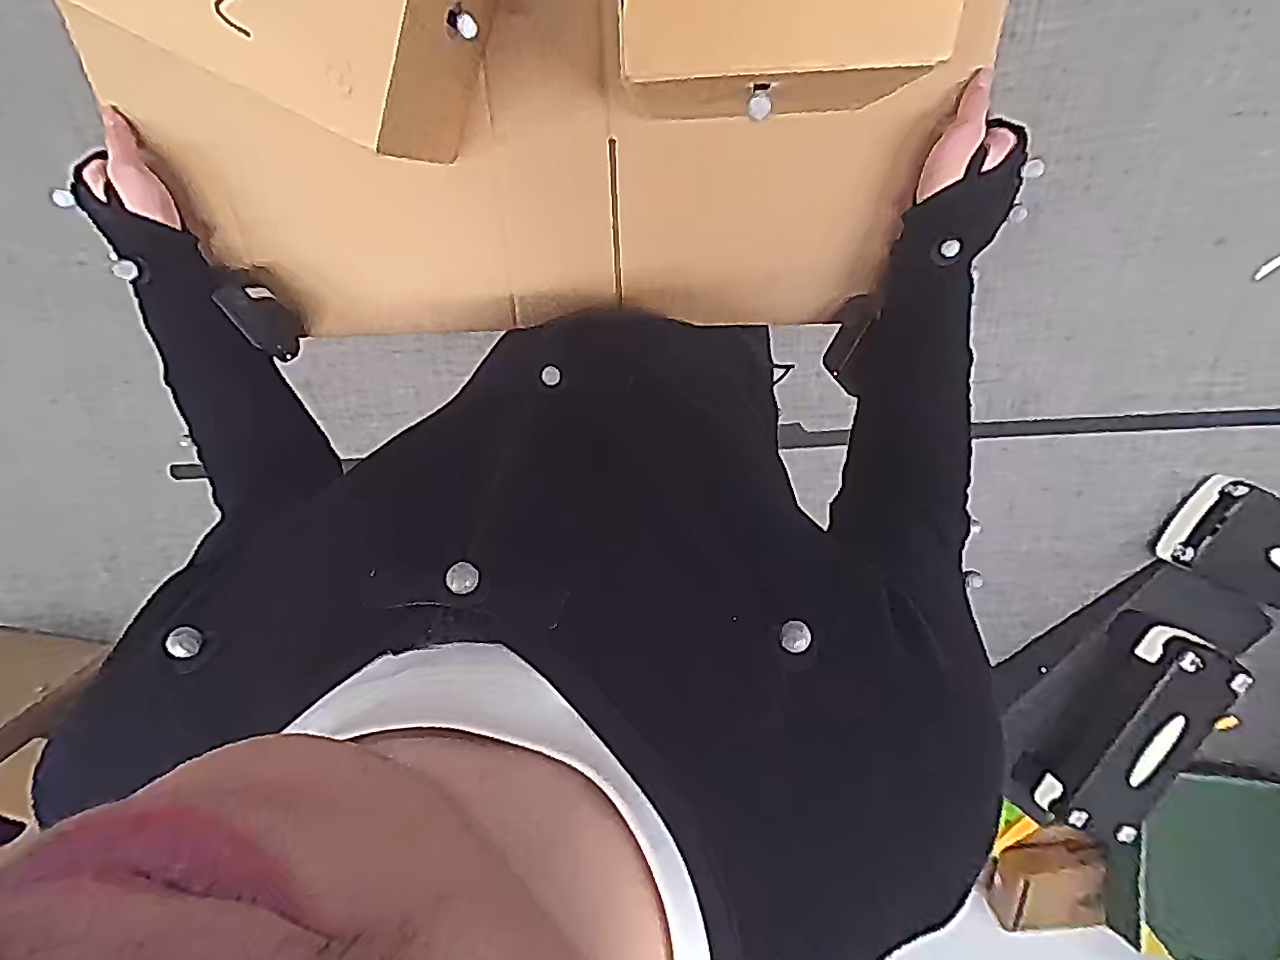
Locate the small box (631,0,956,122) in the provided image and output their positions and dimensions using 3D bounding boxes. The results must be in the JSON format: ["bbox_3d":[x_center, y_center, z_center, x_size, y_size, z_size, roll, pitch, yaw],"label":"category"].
[{"bbox_3d":[0.087,-0.334,0.340,0.179,0.176,0.168,1,117,6],"label":"small box"}]
